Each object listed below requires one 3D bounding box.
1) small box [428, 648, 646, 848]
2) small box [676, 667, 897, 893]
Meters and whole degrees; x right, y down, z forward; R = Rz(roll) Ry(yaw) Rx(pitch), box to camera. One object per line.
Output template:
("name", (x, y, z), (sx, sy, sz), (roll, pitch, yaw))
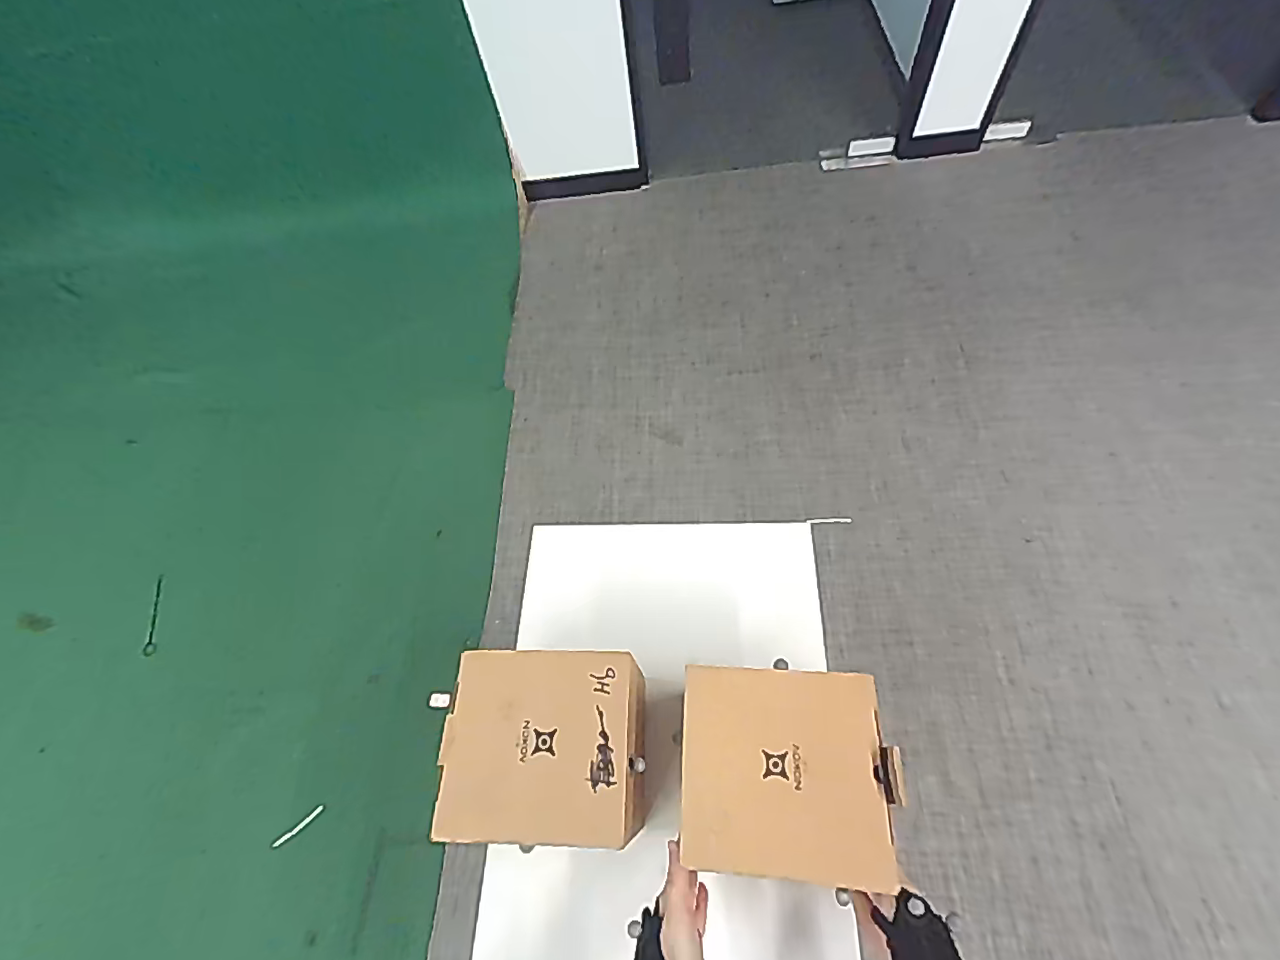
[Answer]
("small box", (-0.091, 0.280, 0.575), (0.179, 0.176, 0.168), (-2, 62, 6))
("small box", (0.132, 0.291, 0.540), (0.179, 0.176, 0.168), (0, 61, 8))
